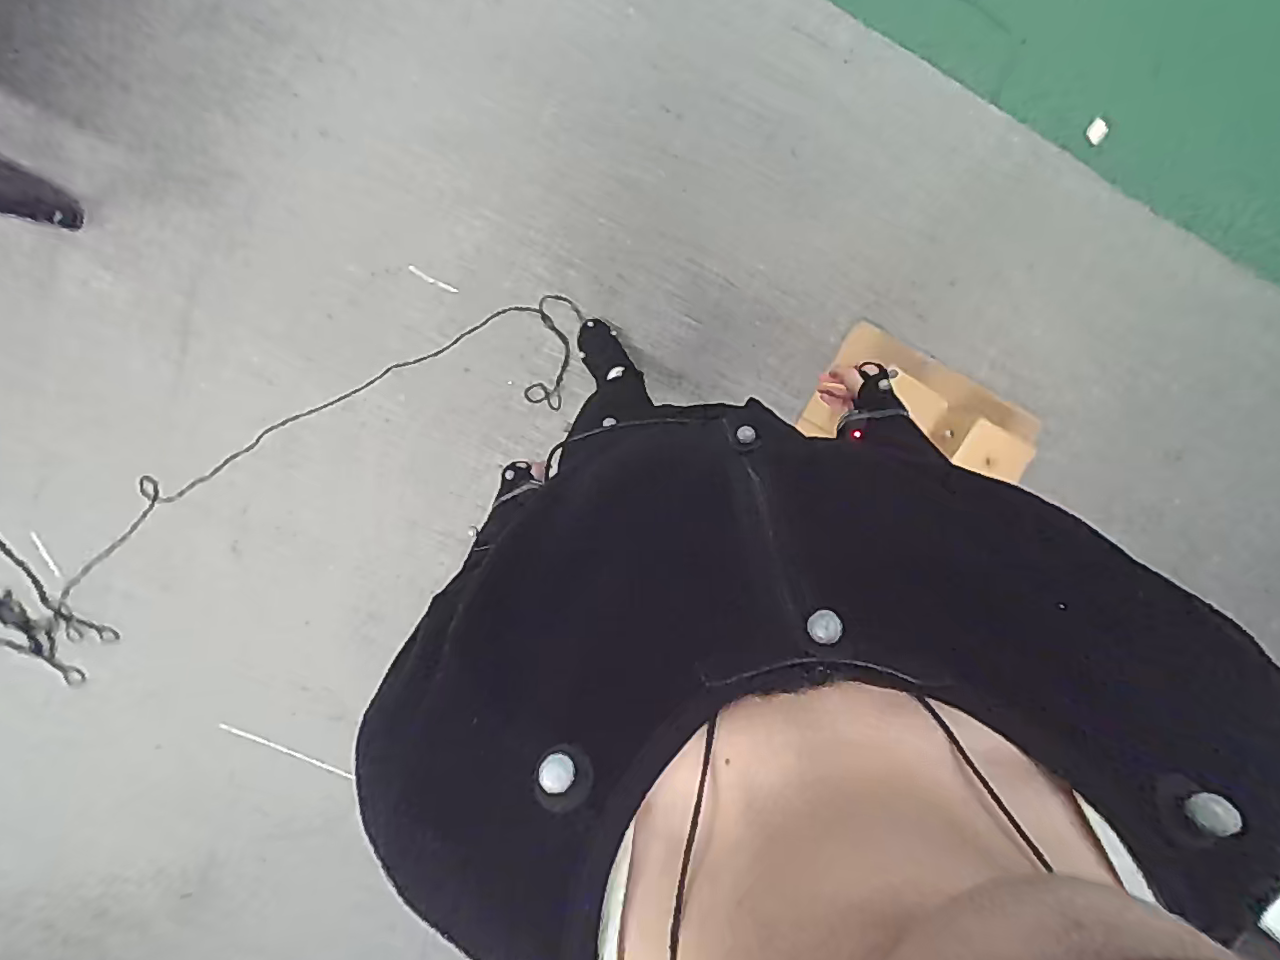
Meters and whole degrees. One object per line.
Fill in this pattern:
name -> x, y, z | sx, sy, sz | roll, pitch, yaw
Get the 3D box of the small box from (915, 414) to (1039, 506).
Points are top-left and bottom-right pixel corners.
small box -> 0.860, -0.060, 1.401 | 0.179, 0.176, 0.168 | 28, 102, -7

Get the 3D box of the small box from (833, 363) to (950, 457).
small box -> 0.626, -0.181, 1.373 | 0.179, 0.176, 0.168 | 33, 101, -7
